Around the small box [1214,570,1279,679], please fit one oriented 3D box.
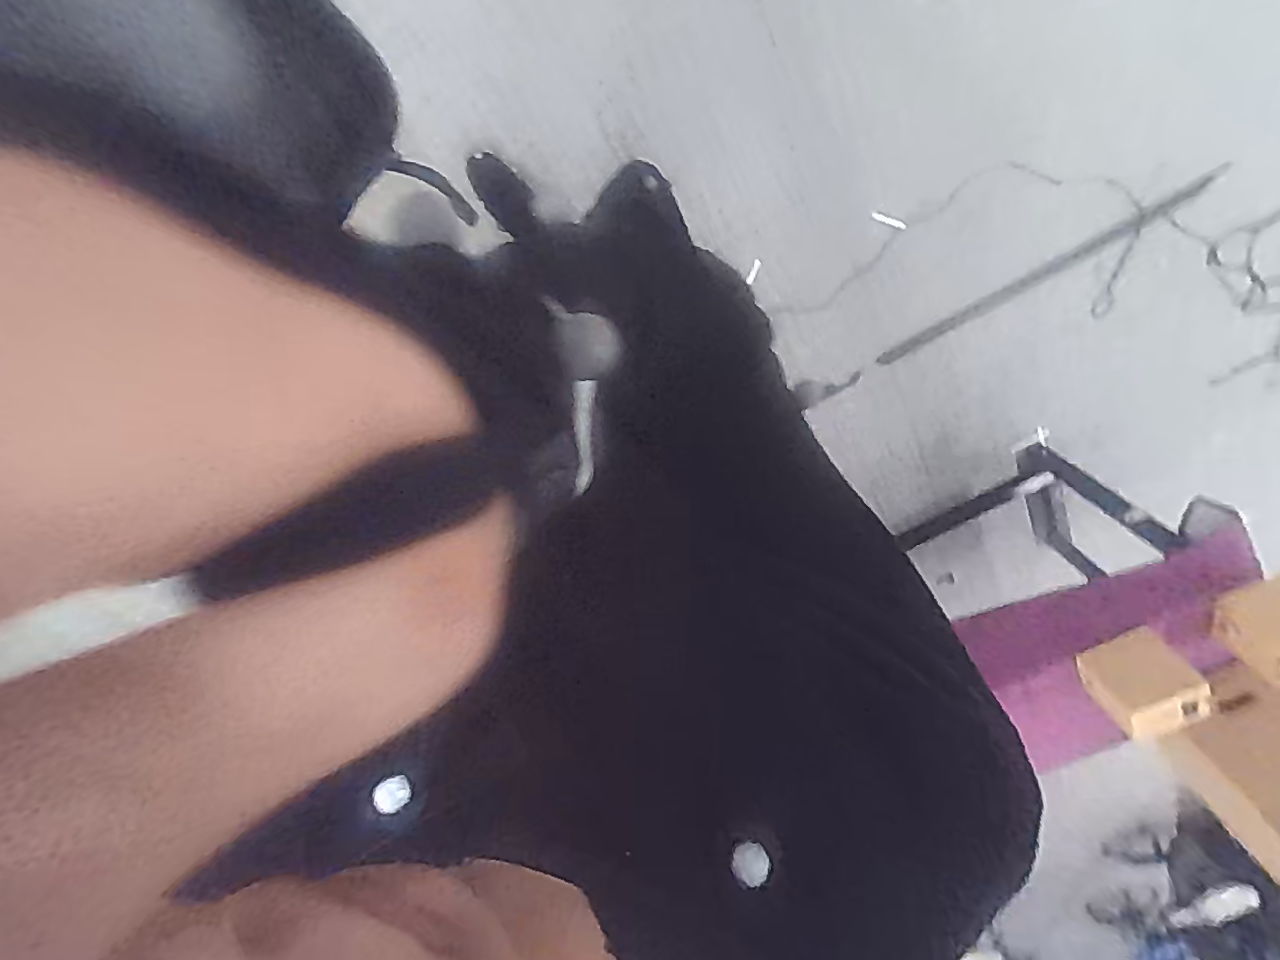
[{"bbox_3d":[1.545,0.334,1.285,0.179,0.176,0.168,-28,123,12],"label":"small box"}]
